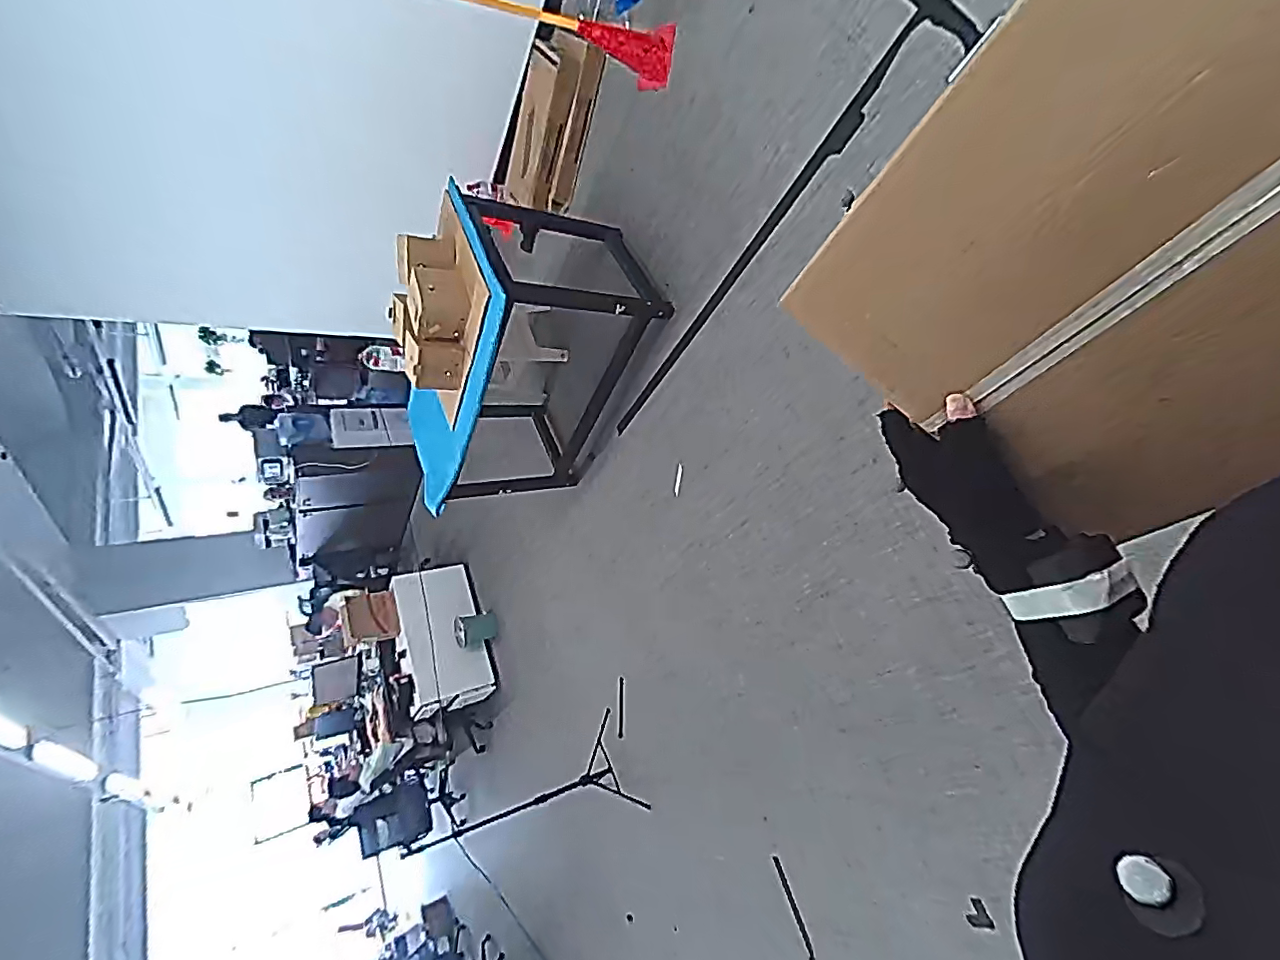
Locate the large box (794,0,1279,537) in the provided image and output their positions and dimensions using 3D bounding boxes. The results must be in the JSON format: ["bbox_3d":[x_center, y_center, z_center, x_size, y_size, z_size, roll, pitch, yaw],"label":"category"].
[{"bbox_3d":[0.389,-0.234,0.382,0.320,0.320,0.408,39,140,0],"label":"large box"}]
